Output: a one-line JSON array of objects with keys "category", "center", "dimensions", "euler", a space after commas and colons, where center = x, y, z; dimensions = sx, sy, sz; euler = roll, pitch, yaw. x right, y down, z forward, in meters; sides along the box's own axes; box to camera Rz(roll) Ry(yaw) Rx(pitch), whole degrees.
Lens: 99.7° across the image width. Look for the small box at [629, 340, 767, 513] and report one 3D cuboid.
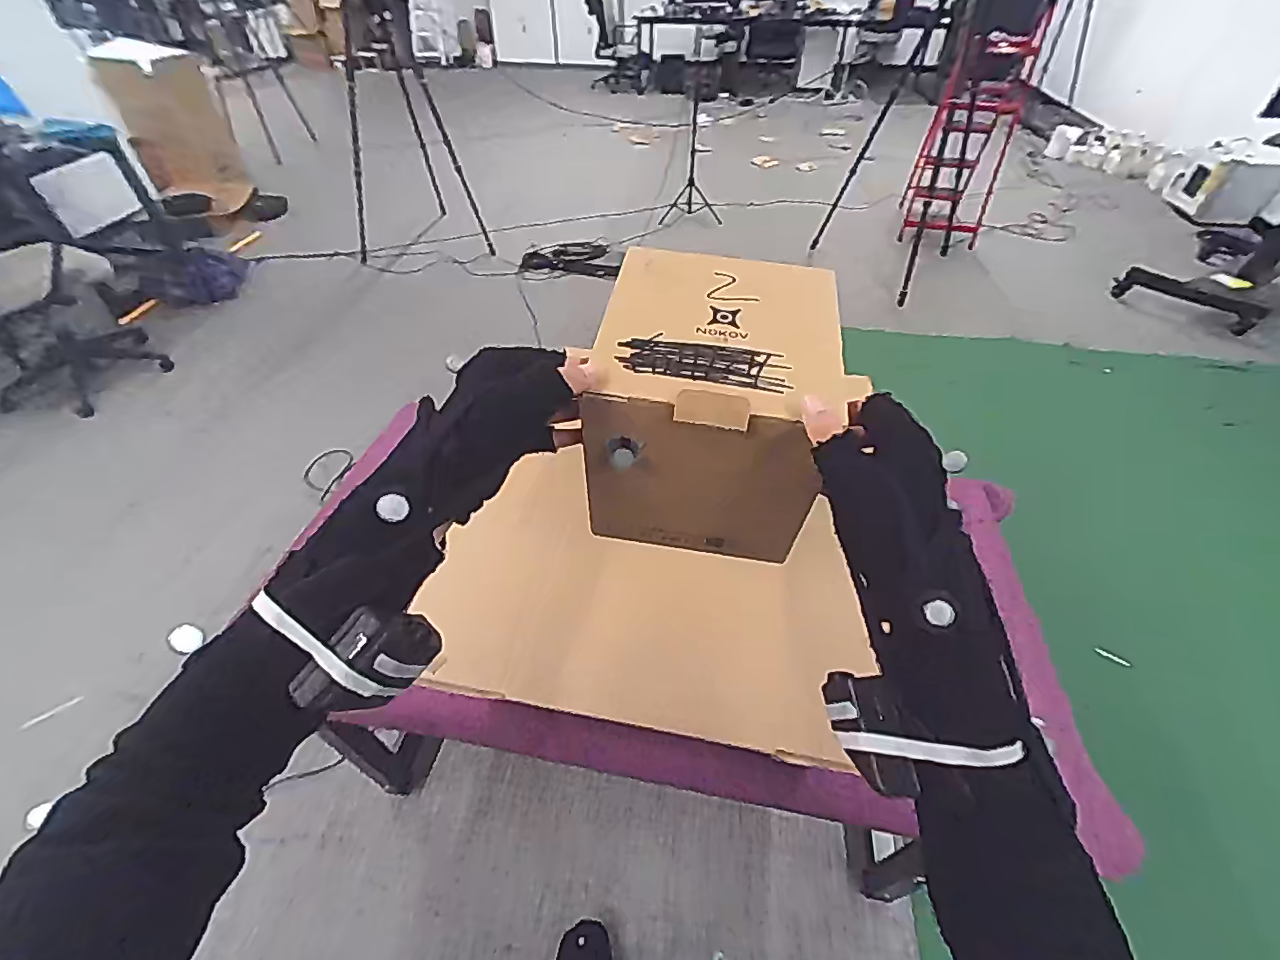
[{"category": "small box", "center": [0.083, -0.075, 0.767], "dimensions": [0.168, 0.176, 0.179], "euler": [8, 43, 7]}]
